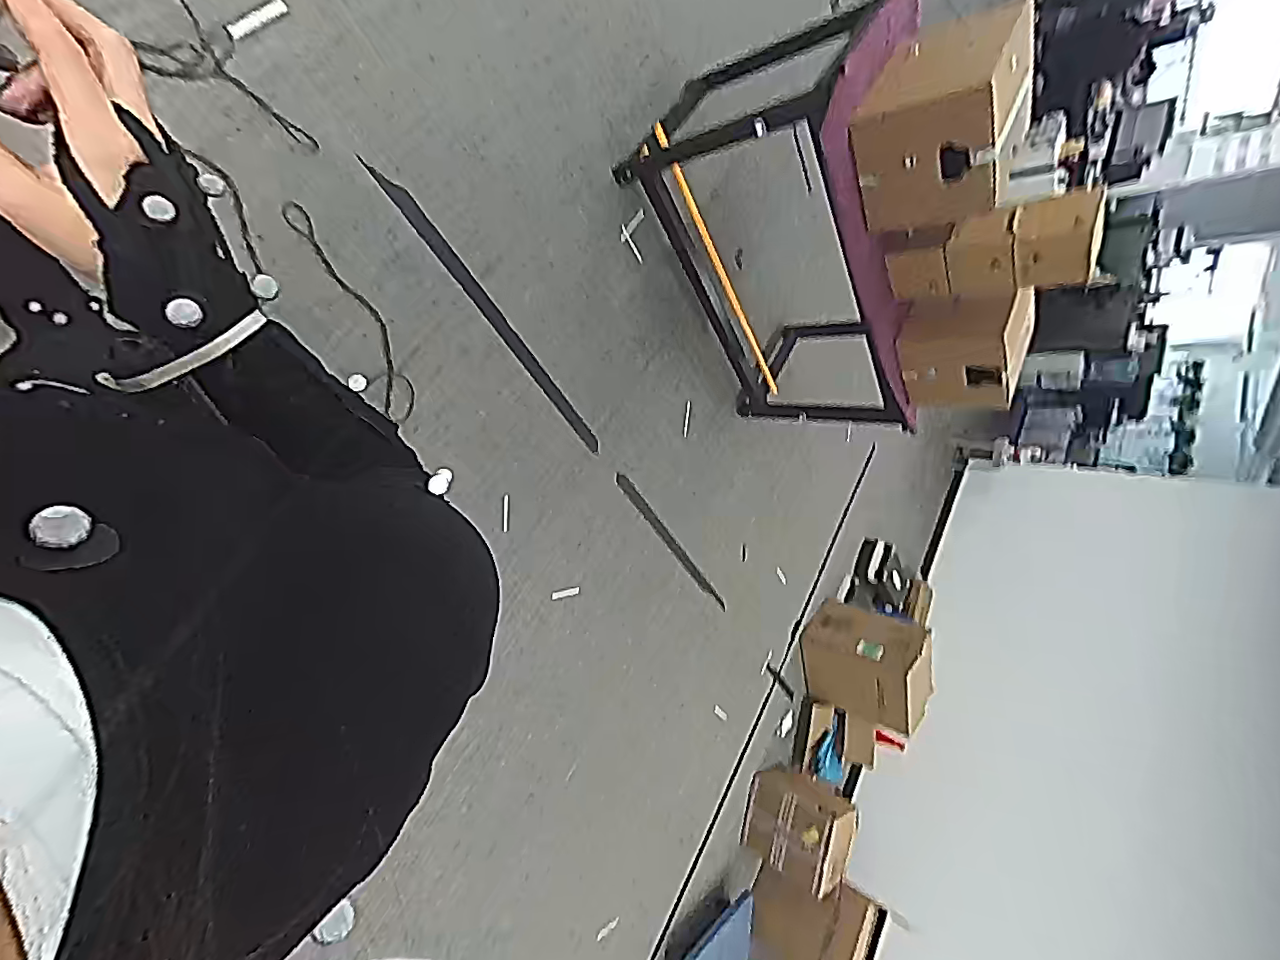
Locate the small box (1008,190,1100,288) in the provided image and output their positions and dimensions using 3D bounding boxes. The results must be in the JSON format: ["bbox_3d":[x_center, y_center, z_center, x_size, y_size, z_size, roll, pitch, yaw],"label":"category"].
[{"bbox_3d":[1.115,-0.645,1.462,0.168,0.176,0.179,47,64,-43],"label":"small box"}]

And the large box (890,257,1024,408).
[{"bbox_3d":[1.097,-0.496,1.864,0.408,0.320,0.320,-59,135,-23],"label":"large box"}]
